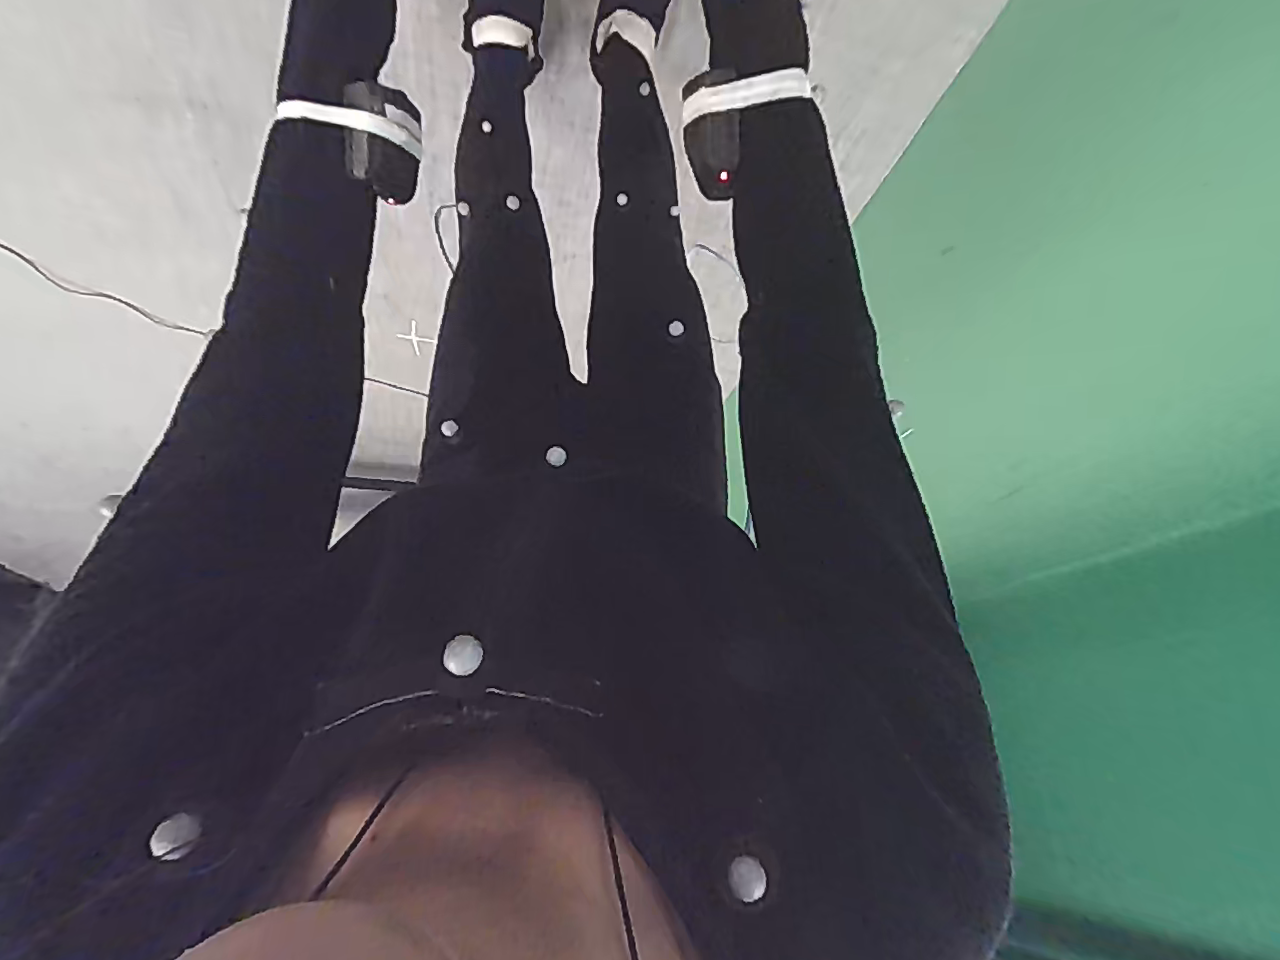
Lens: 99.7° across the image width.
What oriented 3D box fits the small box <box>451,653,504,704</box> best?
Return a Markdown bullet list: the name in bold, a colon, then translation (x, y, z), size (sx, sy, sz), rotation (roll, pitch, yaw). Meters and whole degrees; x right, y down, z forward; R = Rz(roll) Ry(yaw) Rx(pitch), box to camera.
- **small box**: translation (-0.629, 0.773, 2.104), size (0.179, 0.176, 0.168), rotation (5, 152, -12)
